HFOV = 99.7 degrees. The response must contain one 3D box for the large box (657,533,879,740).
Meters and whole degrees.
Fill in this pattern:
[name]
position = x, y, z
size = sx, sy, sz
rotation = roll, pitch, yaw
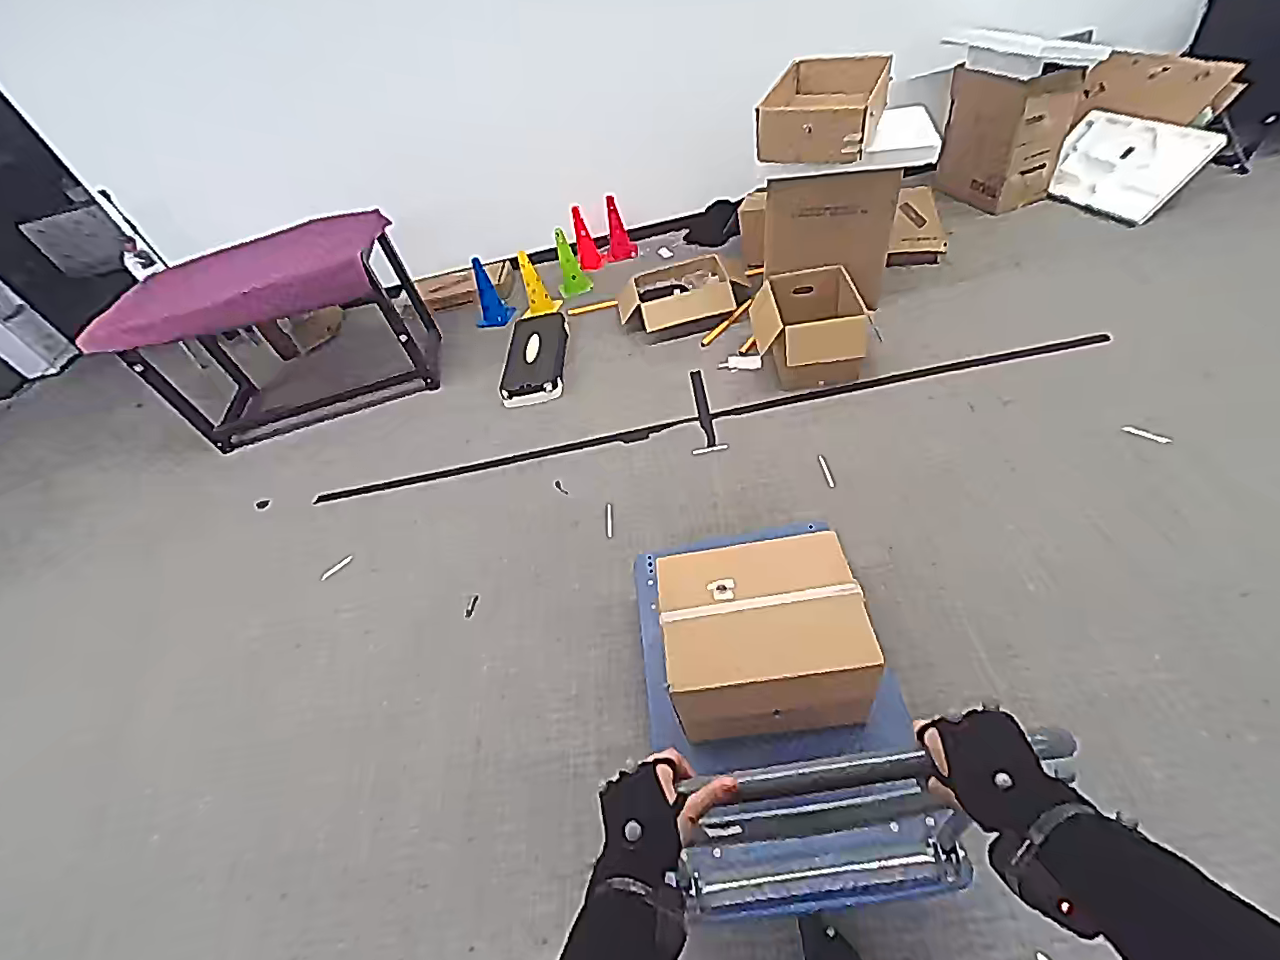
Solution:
[large box]
position = 0.274, 0.363, 1.232
size = 0.408, 0.320, 0.320
rotation = -11, 45, 6
